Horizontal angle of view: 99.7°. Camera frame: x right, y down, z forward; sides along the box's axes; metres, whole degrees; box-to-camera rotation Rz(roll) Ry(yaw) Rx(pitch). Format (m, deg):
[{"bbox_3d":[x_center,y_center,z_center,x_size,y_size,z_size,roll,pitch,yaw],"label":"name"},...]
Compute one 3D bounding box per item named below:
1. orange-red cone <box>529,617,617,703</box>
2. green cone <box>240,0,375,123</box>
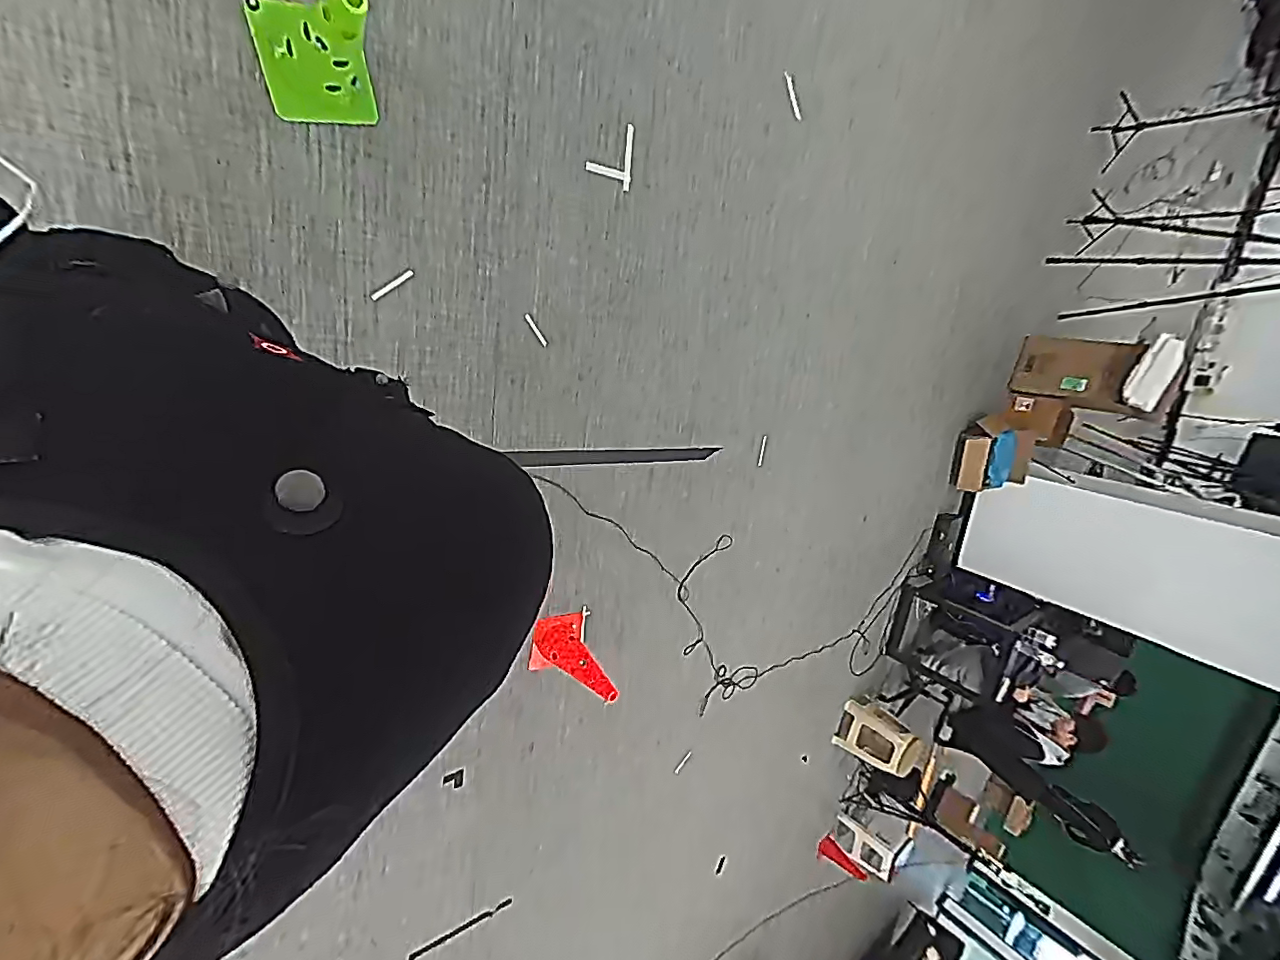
[{"bbox_3d":[-0.194,0.629,1.803,0.199,0.360,0.198,5,102,-40],"label":"orange-red cone"},{"bbox_3d":[-0.554,-0.794,0.968,0.202,0.368,0.200,-23,120,-34],"label":"green cone"}]
